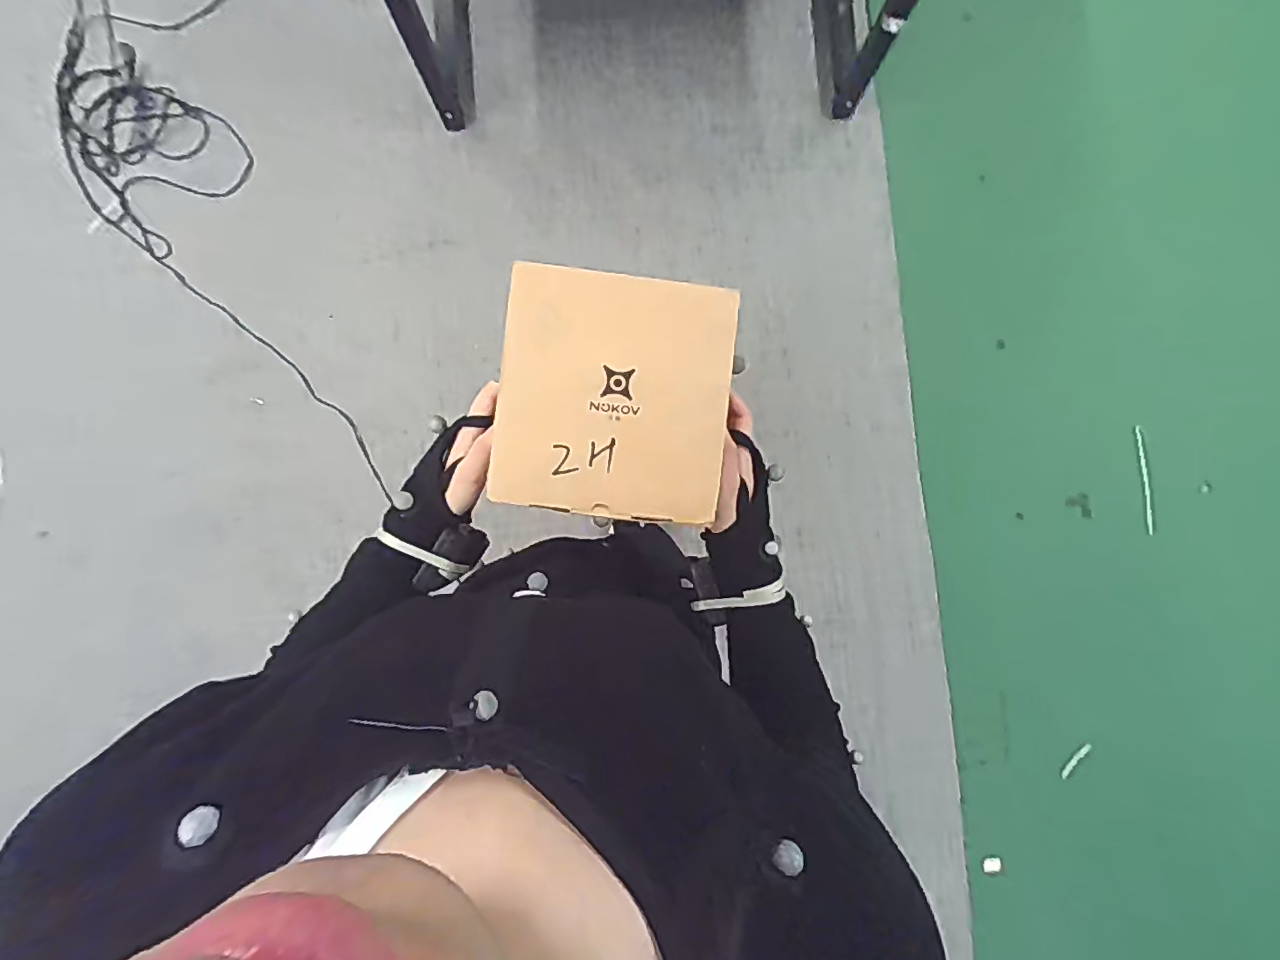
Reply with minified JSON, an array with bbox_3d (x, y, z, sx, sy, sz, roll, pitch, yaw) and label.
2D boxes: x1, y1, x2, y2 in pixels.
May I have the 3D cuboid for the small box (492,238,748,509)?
[{"bbox_3d":[-0.017,-0.073,0.458,0.168,0.176,0.179,6,90,-3],"label":"small box"}]
